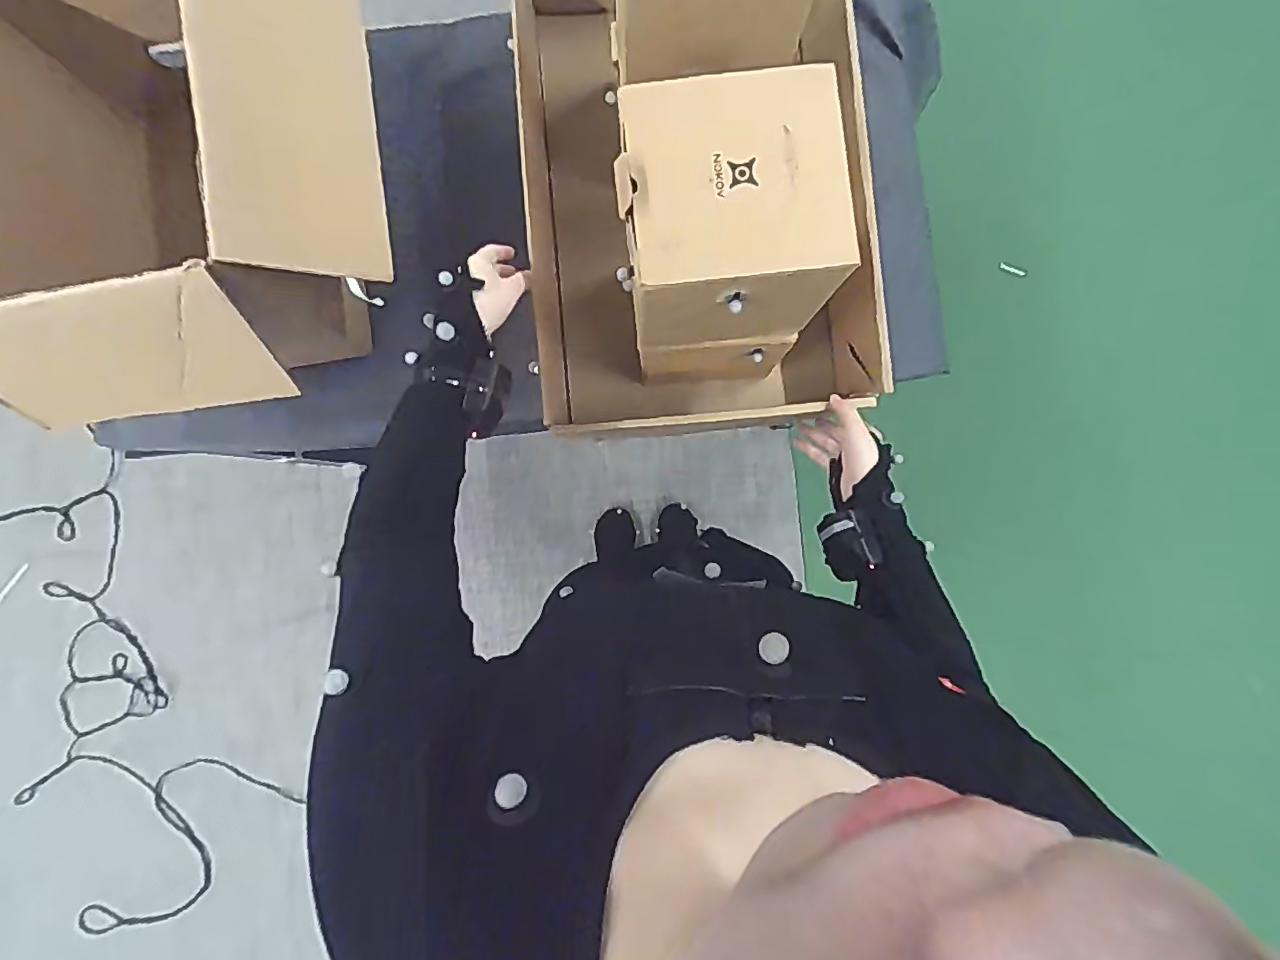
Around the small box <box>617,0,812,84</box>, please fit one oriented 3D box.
[{"bbox_3d":[0.060,-0.490,0.510,0.168,0.176,0.179,-4,90,0],"label":"small box"}]

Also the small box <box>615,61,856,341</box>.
[{"bbox_3d":[0.076,-0.238,0.505,0.179,0.176,0.168,-7,88,-1],"label":"small box"}]
